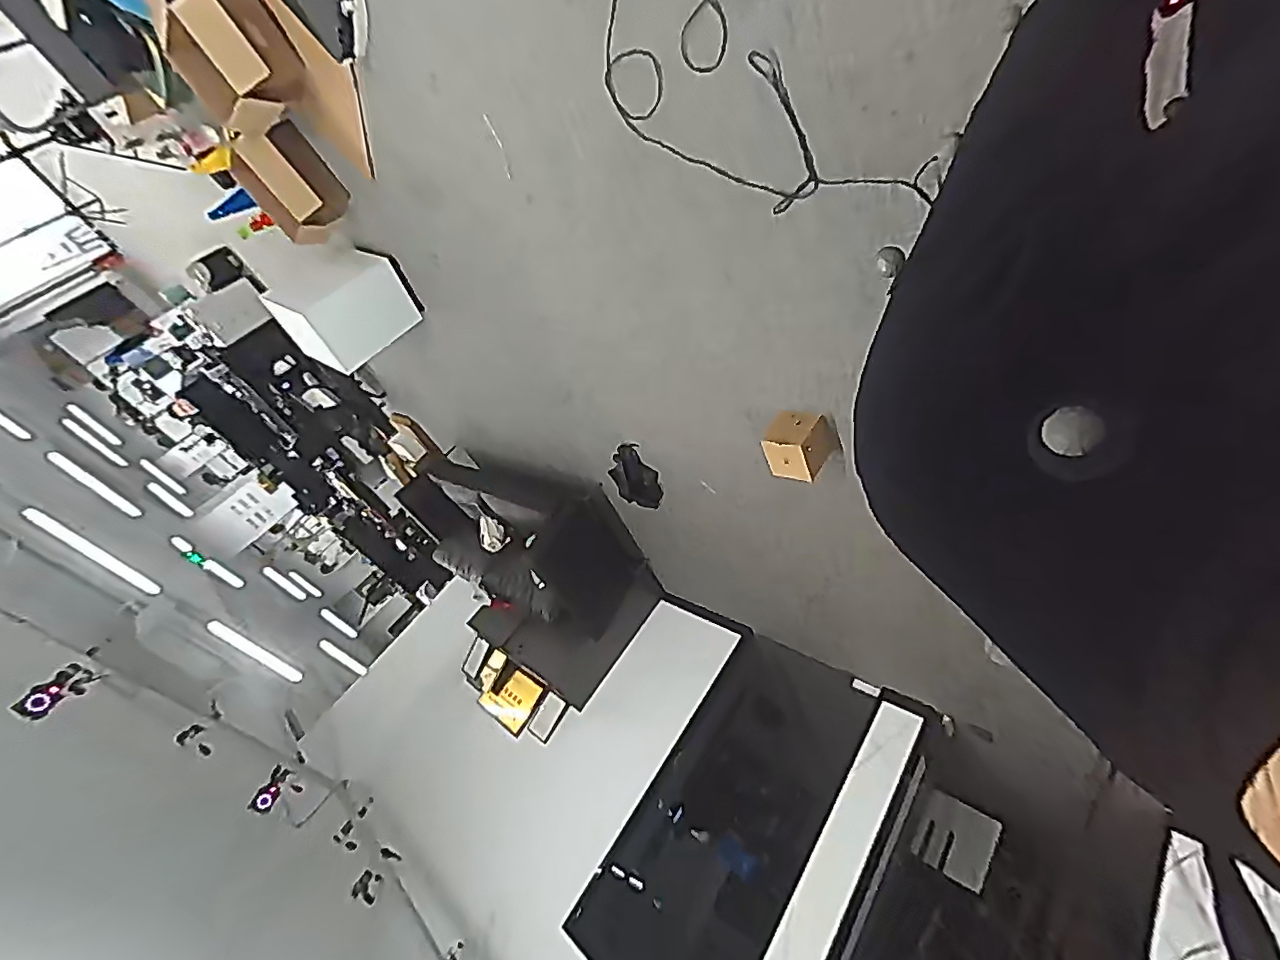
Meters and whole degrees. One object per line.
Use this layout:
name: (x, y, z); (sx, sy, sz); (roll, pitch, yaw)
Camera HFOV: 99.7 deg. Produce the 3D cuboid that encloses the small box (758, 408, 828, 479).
small box: (0.557, -0.133, 1.949); (0.168, 0.176, 0.179); (14, 144, 45)
